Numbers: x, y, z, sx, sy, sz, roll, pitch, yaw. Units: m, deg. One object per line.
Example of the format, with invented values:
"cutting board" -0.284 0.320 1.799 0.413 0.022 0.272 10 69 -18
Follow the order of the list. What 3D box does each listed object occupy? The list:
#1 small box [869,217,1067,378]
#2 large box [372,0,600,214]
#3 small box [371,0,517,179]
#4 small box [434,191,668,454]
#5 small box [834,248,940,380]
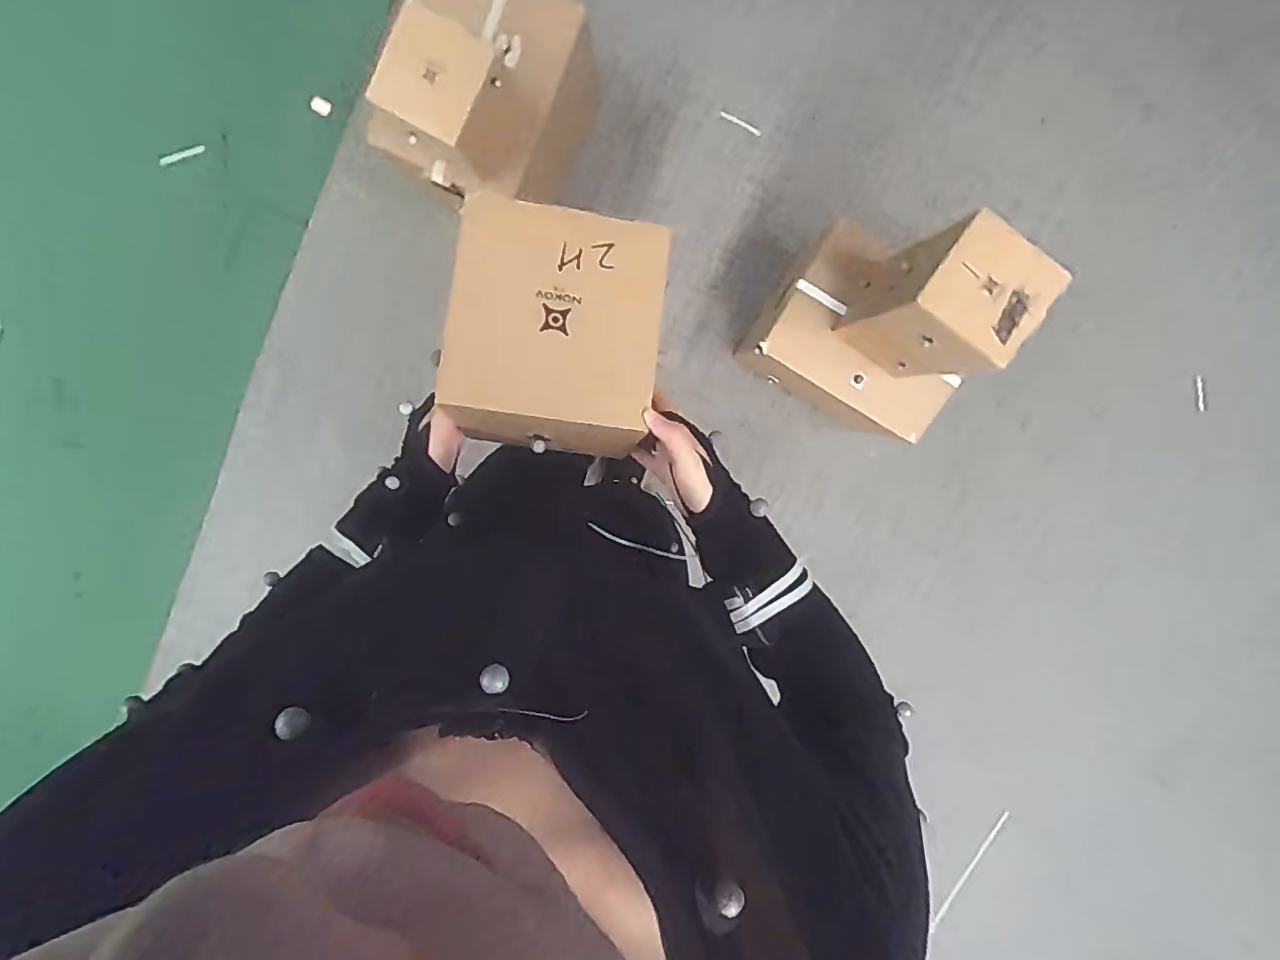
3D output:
"small box" 0.516 -0.280 0.878 0.179 0.176 0.168 36 95 -5
"large box" -0.315 -0.810 1.203 0.320 0.320 0.408 25 98 -4
"small box" -0.339 -0.687 0.974 0.168 0.176 0.179 28 97 -5
"small box" -0.079 -0.126 0.508 0.168 0.176 0.179 8 83 -9
"small box" 0.513 -0.307 1.040 0.179 0.176 0.168 34 95 -5
